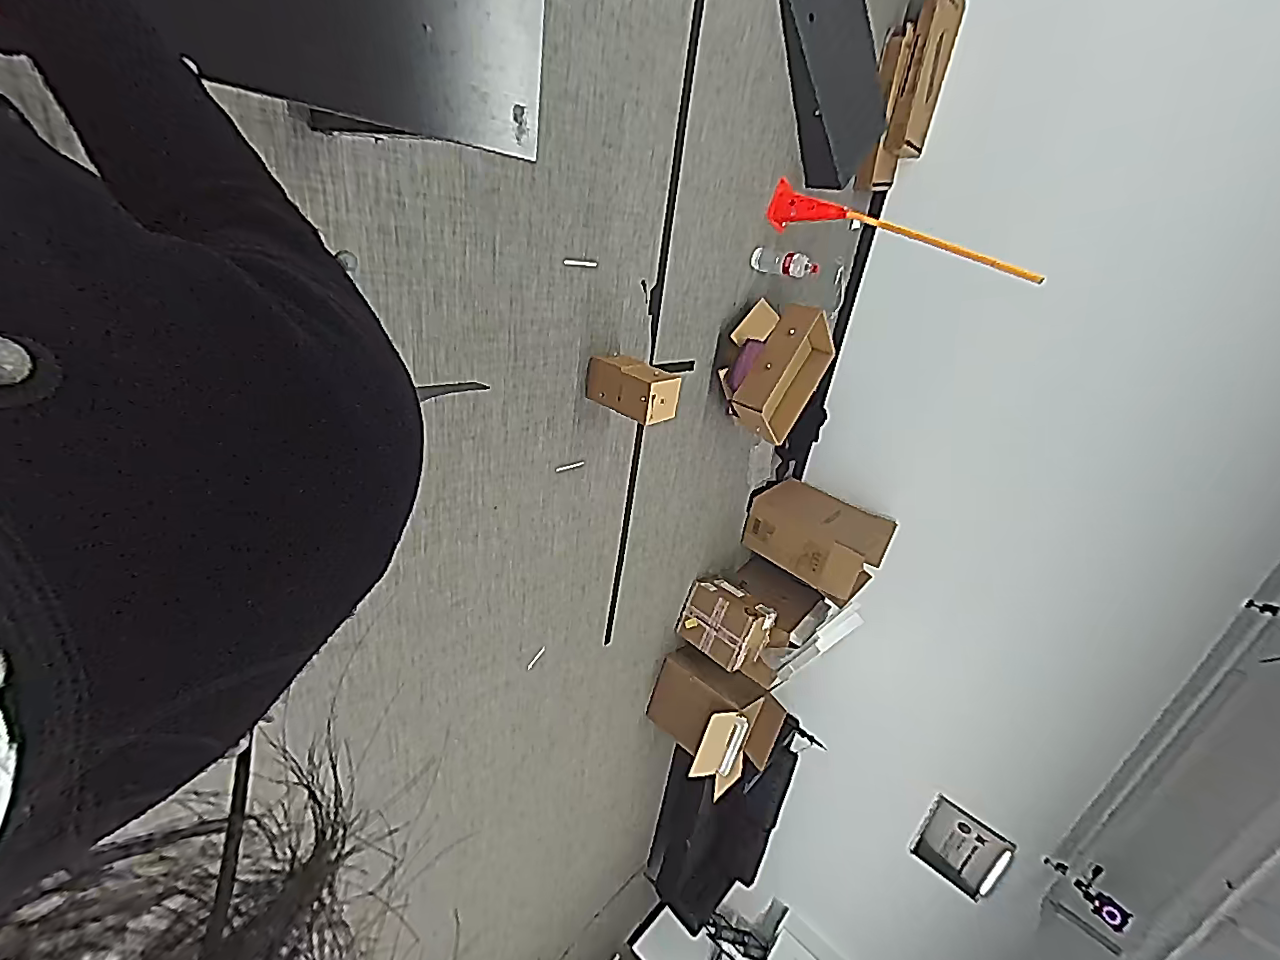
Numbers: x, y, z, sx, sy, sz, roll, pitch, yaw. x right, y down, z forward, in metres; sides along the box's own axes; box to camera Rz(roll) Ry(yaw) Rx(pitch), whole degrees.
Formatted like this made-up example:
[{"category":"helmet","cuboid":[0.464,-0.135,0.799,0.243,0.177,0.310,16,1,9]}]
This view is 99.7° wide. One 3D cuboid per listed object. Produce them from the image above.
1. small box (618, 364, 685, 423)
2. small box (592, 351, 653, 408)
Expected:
[{"category":"small box","cuboid":[0.043,-0.334,2.042,0.179,0.176,0.168,-22,129,-44]},{"category":"small box","cuboid":[-0.074,-0.400,2.136,0.168,0.176,0.179,-20,127,-45]}]
